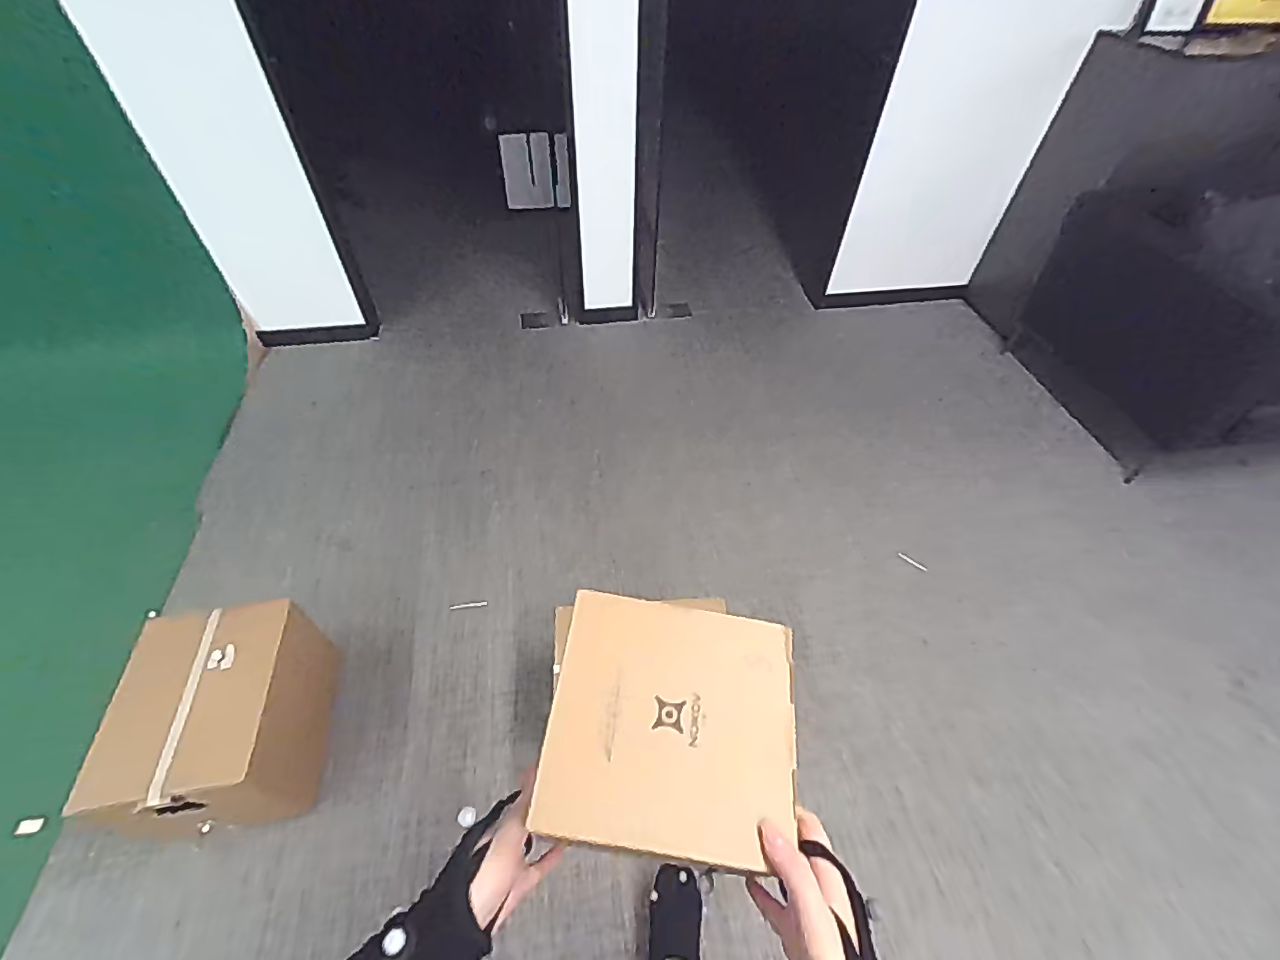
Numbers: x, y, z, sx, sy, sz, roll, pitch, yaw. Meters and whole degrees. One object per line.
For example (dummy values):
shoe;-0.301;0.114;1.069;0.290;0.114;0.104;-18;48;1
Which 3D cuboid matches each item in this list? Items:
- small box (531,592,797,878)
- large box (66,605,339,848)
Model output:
small box;0.019;0.218;0.455;0.179;0.176;0.168;11;52;1
large box;-0.943;0.560;1.245;0.320;0.320;0.408;-7;48;-8
